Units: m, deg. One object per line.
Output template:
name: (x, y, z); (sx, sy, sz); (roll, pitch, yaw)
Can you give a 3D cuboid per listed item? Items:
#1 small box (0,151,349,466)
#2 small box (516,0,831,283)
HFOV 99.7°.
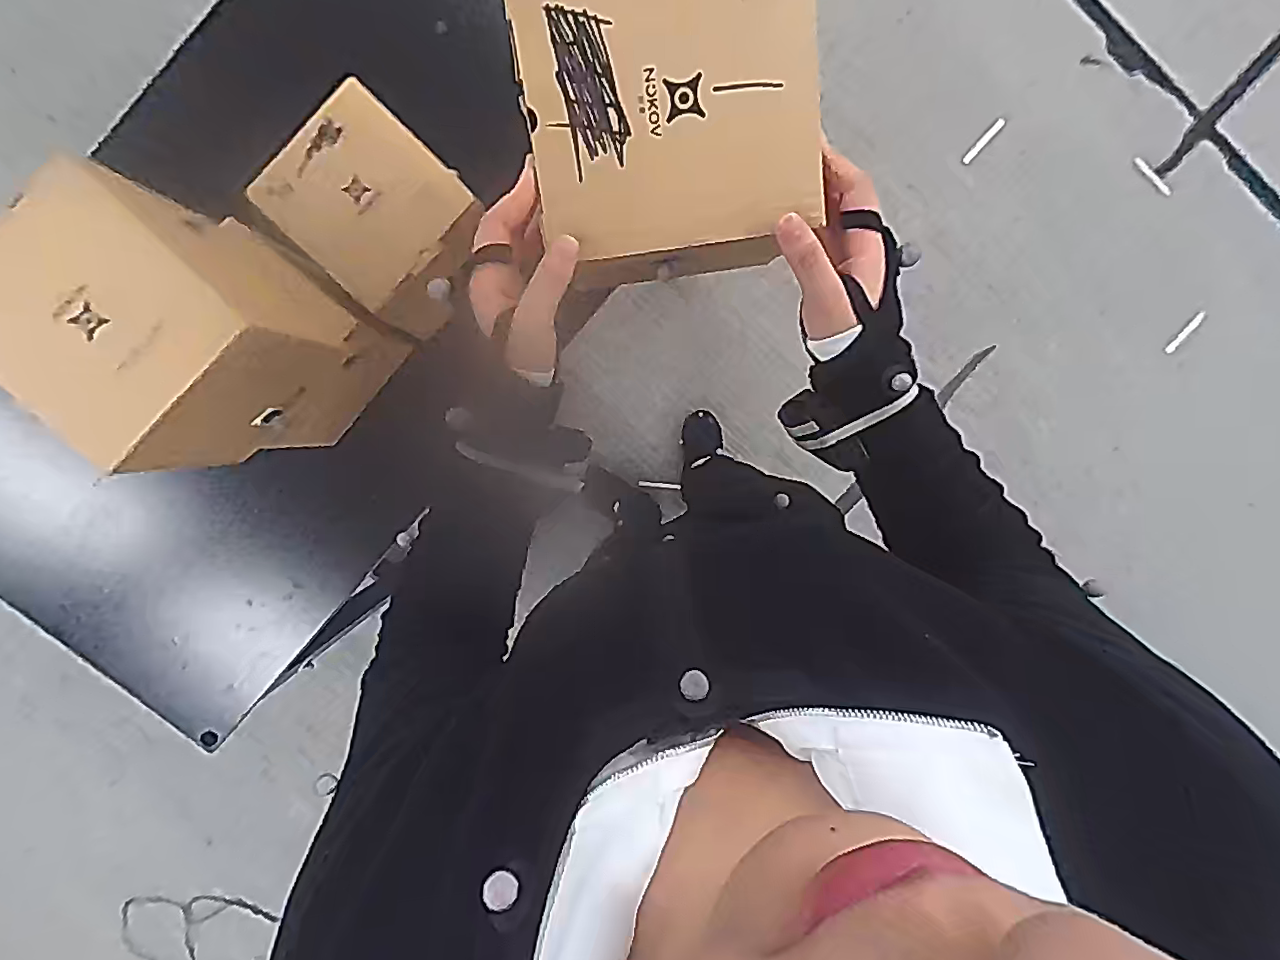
small box: (-0.412, -0.132, 0.482); (0.179, 0.176, 0.168); (44, 93, -7)
small box: (0.024, -0.245, 0.394); (0.179, 0.176, 0.168); (-7, 104, 2)
